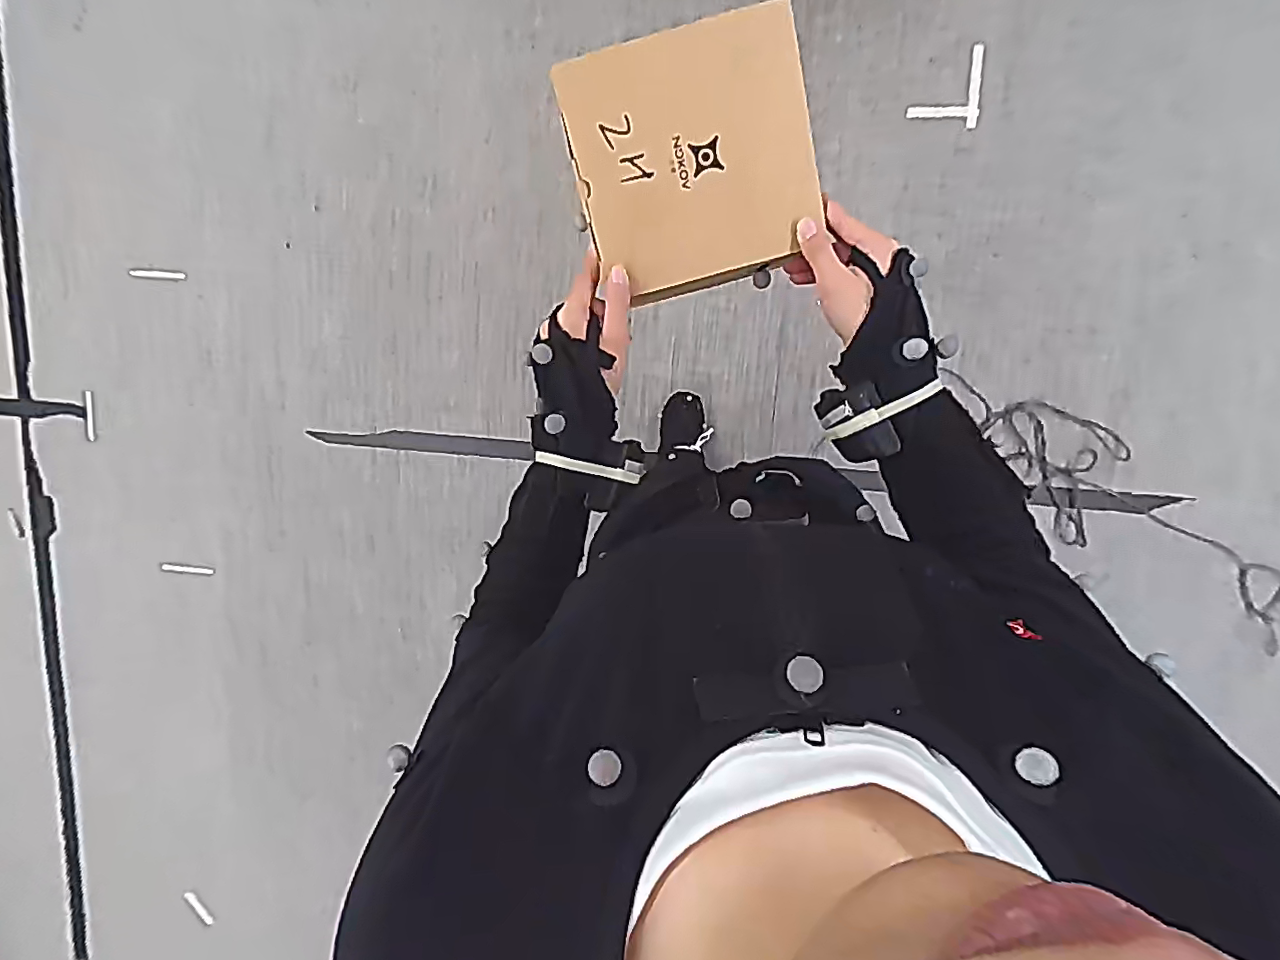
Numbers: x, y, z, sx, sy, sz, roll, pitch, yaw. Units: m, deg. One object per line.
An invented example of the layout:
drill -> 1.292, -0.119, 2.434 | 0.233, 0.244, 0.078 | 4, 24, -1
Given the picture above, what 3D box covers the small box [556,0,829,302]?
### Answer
small box -> 0.040, -0.260, 0.470 | 0.179, 0.176, 0.168 | -14, 104, 3
